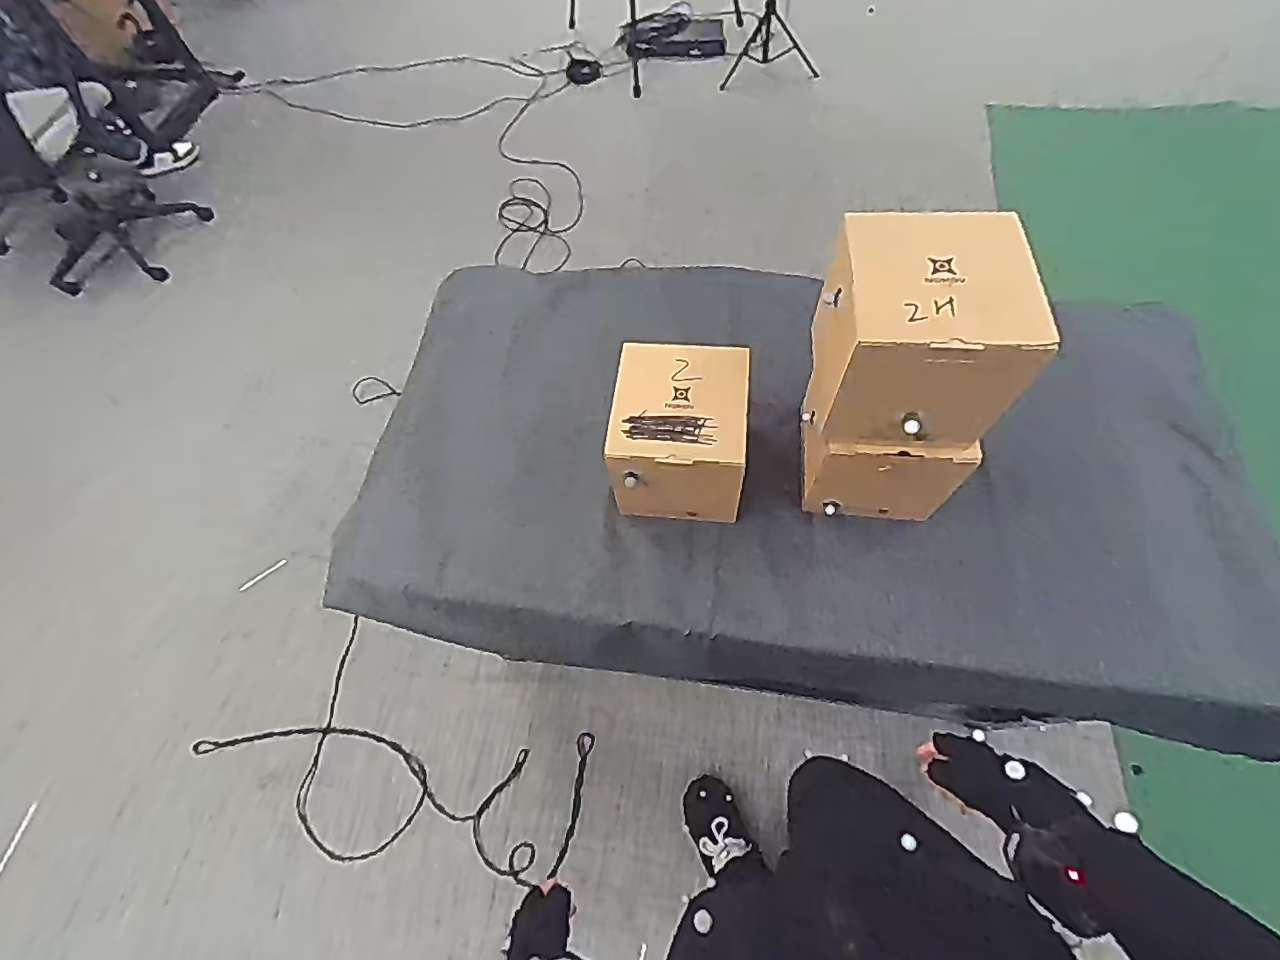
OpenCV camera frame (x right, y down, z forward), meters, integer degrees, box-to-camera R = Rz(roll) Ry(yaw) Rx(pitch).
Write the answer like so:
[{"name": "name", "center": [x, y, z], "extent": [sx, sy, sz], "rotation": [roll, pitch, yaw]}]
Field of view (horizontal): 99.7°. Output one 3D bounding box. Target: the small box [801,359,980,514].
[{"name": "small box", "center": [0.309, -0.068, 0.706], "extent": [0.168, 0.176, 0.179], "rotation": [4, 63, 8]}]

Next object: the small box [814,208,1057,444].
[{"name": "small box", "center": [0.284, -0.156, 0.569], "extent": [0.168, 0.176, 0.179], "rotation": [3, 64, 8]}]
